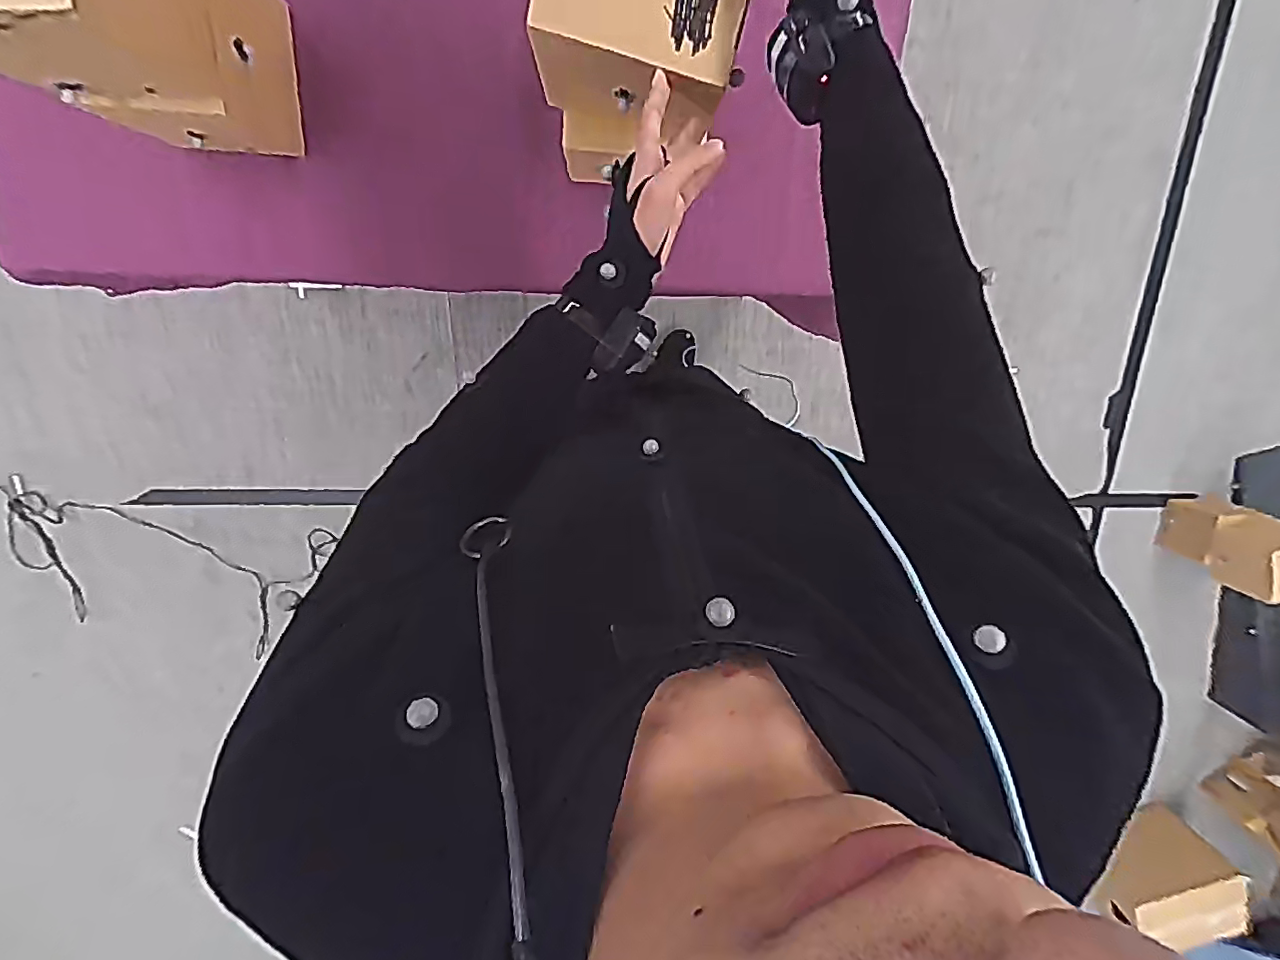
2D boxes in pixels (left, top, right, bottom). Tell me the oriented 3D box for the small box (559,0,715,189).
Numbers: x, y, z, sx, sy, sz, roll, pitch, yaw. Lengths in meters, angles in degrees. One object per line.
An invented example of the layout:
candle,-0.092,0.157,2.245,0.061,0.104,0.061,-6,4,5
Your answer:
small box,-0.009,-0.477,0.670,0.168,0.176,0.179,2,106,-4

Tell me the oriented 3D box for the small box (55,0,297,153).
small box,-0.526,-0.499,0.624,0.168,0.176,0.179,2,107,-6

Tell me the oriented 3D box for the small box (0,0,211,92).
small box,-0.519,-0.461,0.463,0.168,0.176,0.179,-2,107,-4
